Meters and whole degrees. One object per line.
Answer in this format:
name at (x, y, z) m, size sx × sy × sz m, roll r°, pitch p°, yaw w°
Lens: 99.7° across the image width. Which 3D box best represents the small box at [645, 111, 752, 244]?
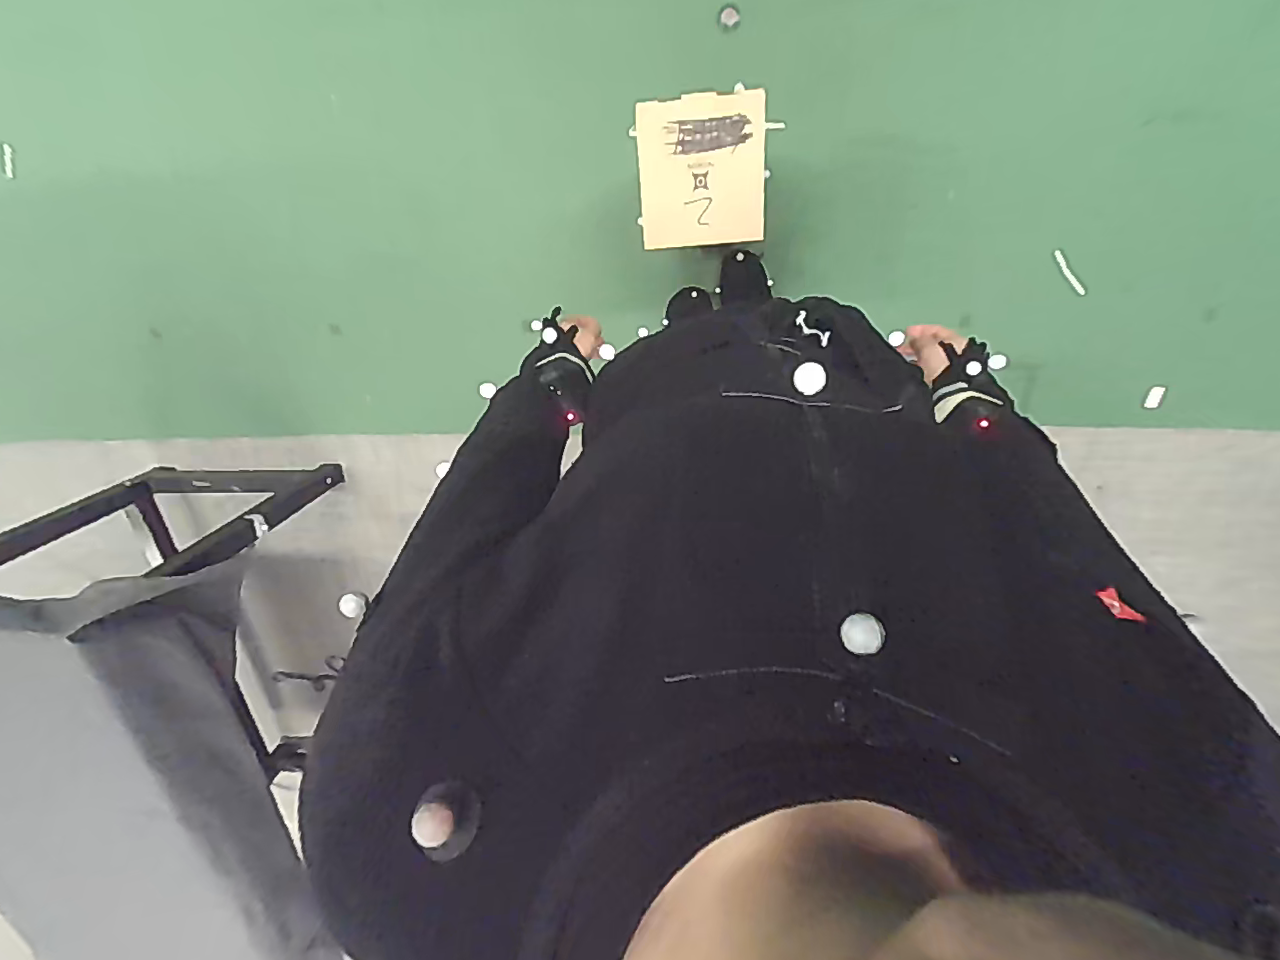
small box at (0.103, -0.509, 0.929) m, size 0.168 × 0.176 × 0.179 m, roll -1°, pitch 113°, yaw 7°
